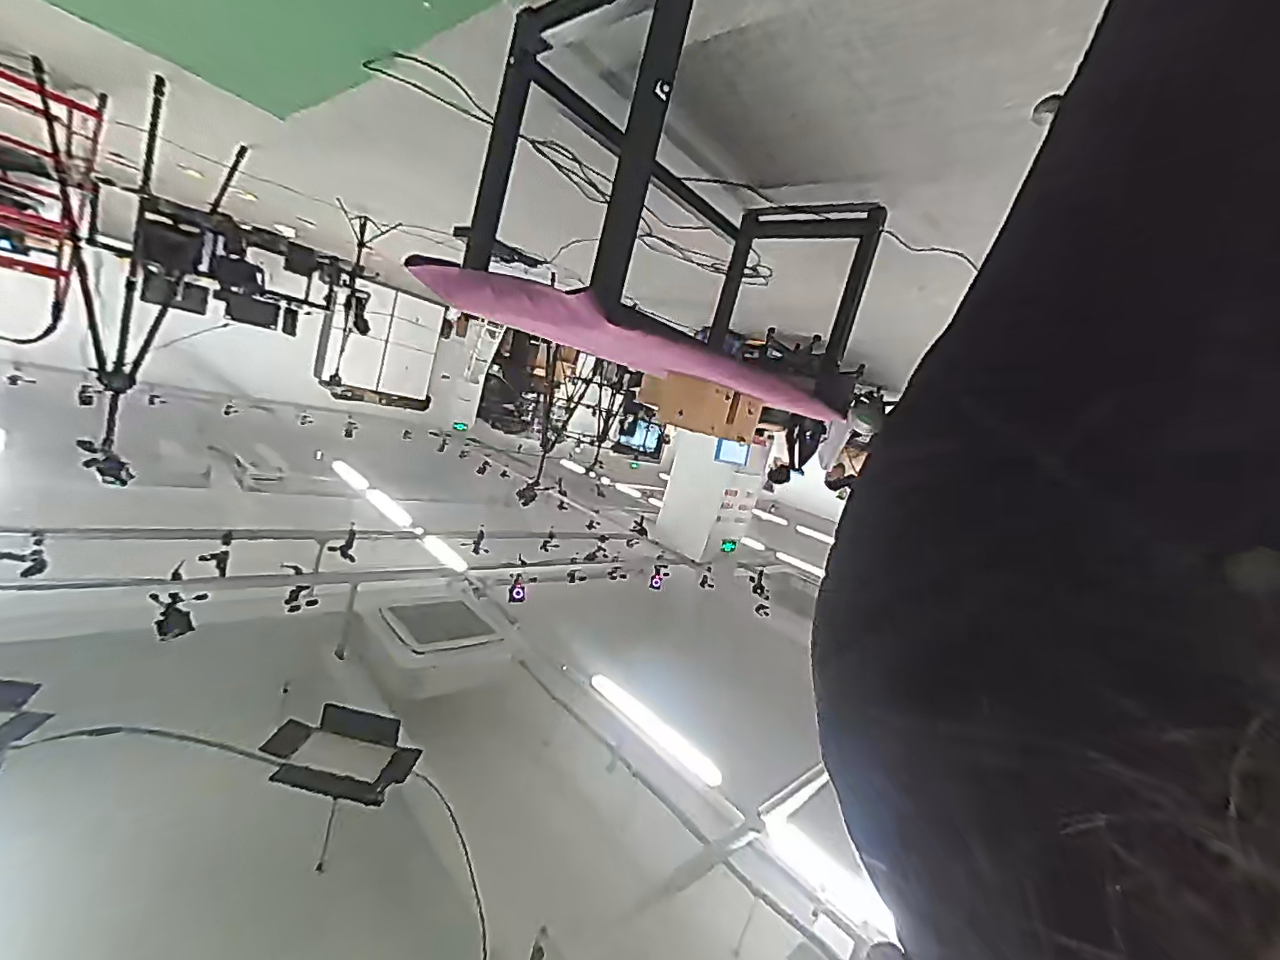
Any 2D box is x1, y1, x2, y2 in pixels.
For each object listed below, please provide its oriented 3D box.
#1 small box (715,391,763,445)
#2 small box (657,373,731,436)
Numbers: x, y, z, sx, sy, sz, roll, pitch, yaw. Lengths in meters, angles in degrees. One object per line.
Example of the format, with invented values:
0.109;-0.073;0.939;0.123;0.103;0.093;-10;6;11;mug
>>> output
0.325;-0.240;1.993;0.179;0.176;0.168;22;-170;39;small box
0.189;-0.257;1.828;0.179;0.176;0.168;23;-170;39;small box
